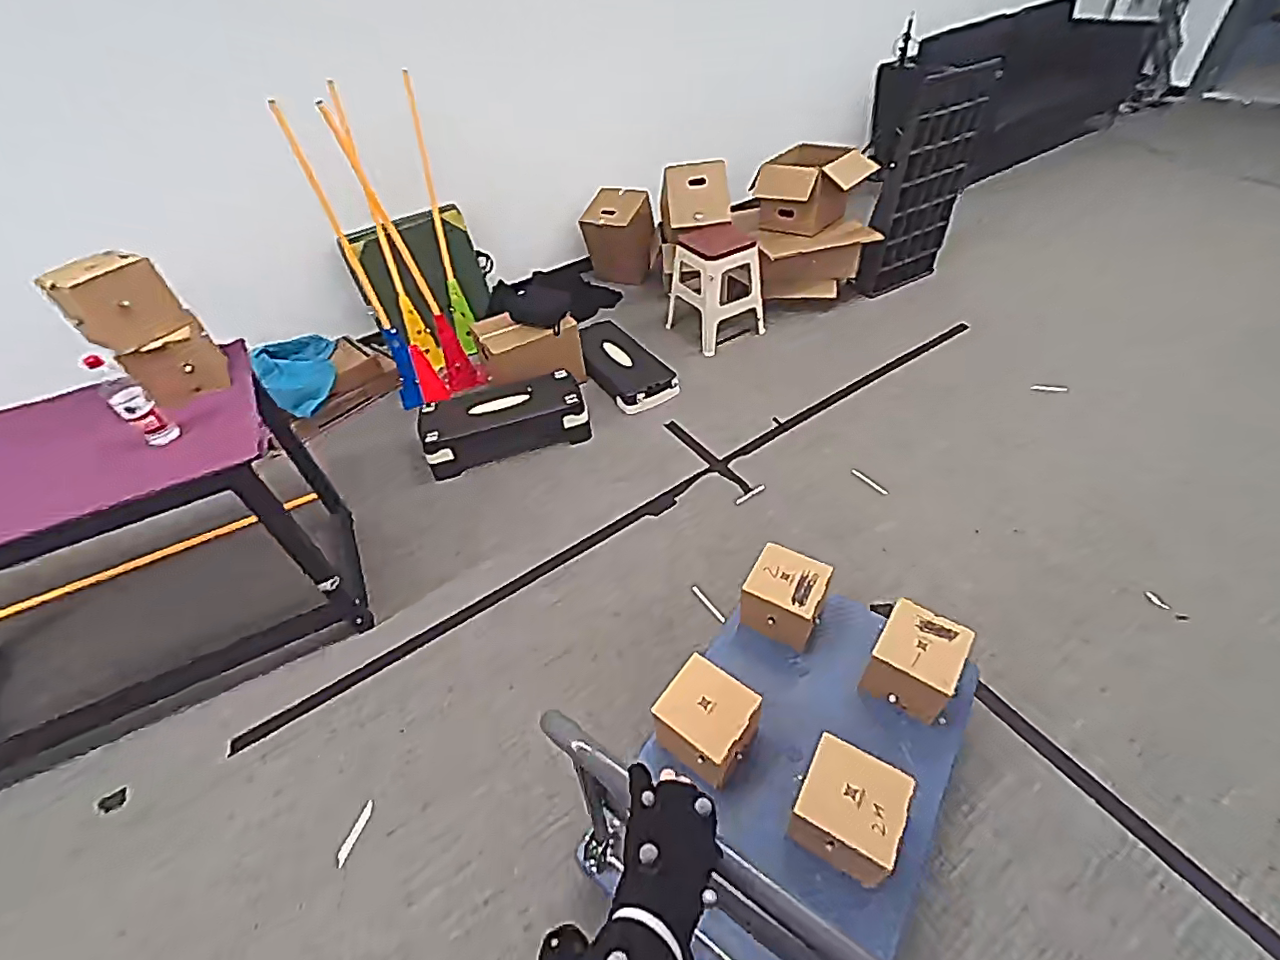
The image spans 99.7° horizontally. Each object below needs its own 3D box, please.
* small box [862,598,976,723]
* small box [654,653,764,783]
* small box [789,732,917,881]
[{"bbox_3d":[0.629,0.412,1.234,0.168,0.176,0.179,26,55,29],"label":"small box"},{"bbox_3d":[0.148,0.523,1.184,0.179,0.176,0.168,29,54,28],"label":"small box"},{"bbox_3d":[0.402,0.632,1.043,0.179,0.176,0.168,22,52,26],"label":"small box"}]
